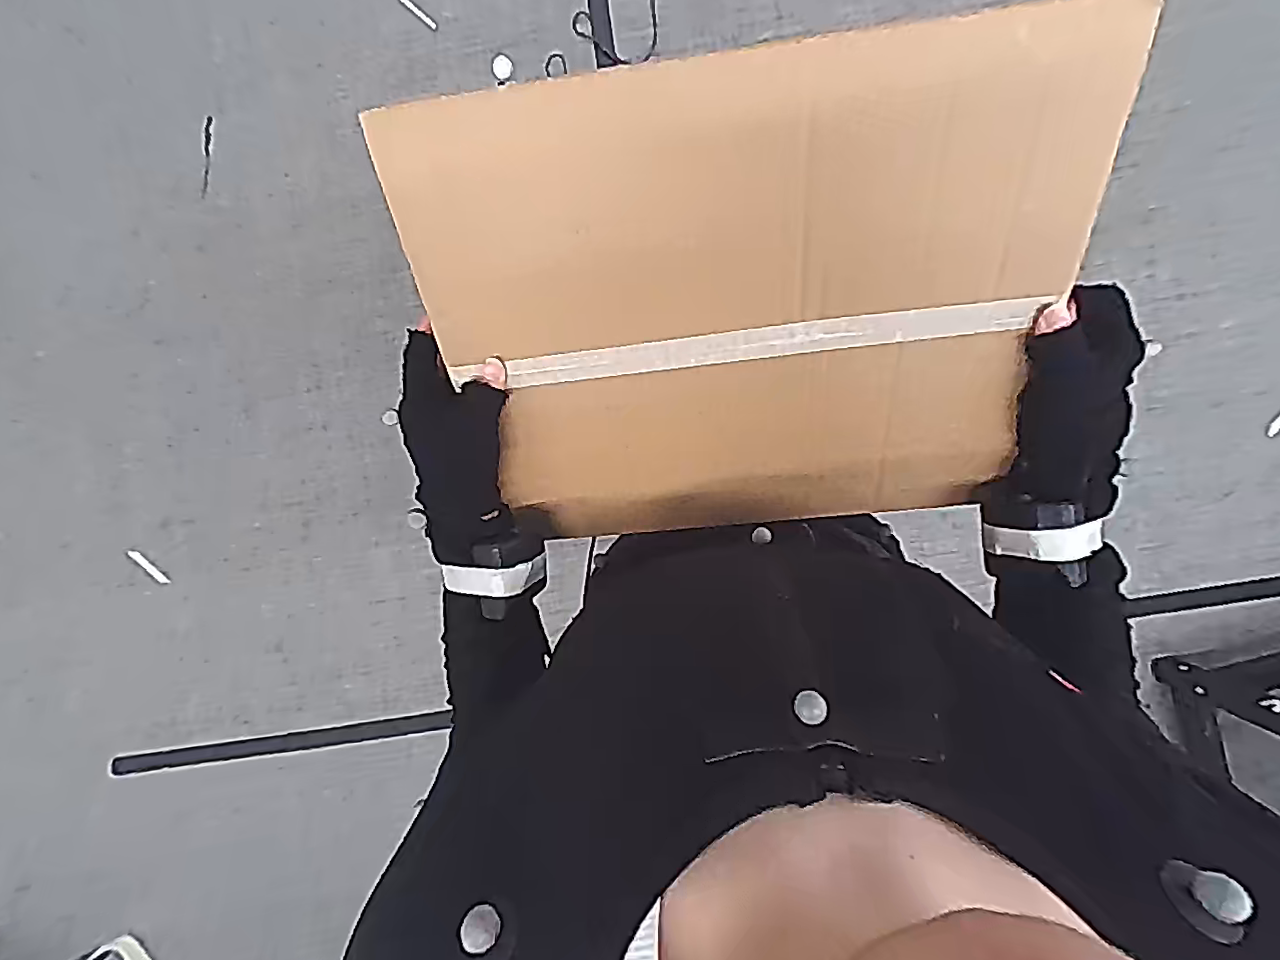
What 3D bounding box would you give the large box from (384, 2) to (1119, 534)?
[{"bbox_3d":[0.068,-0.181,0.495,0.408,0.320,0.320,-5,126,5],"label":"large box"}]
